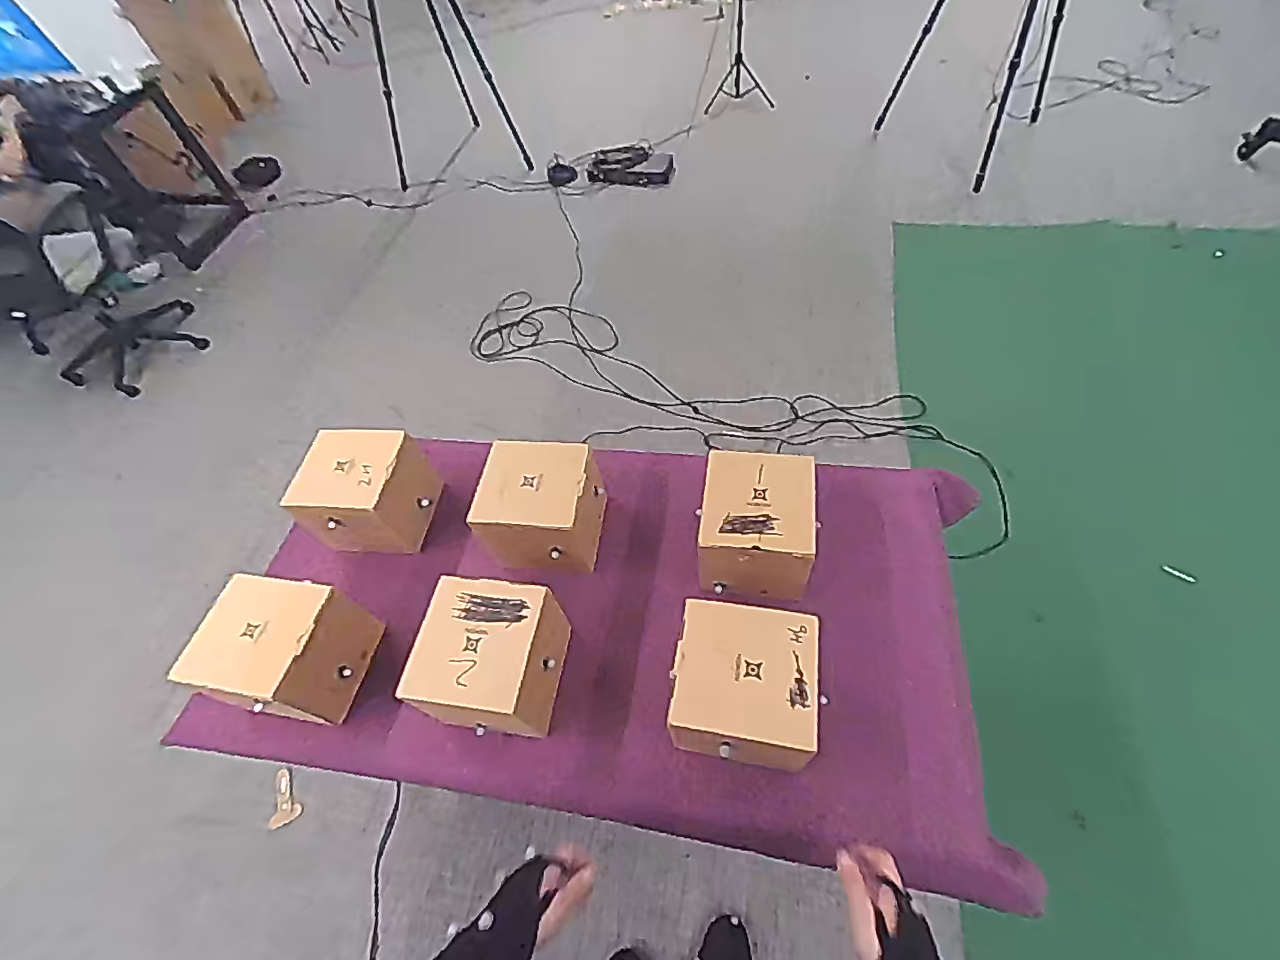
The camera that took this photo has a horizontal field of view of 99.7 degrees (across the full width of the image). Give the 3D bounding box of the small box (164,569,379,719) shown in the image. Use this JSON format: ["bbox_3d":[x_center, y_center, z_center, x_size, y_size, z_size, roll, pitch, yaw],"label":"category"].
[{"bbox_3d":[-0.550,0.256,0.836,0.179,0.176,0.168,5,55,10],"label":"small box"}]

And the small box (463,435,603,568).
[{"bbox_3d":[-0.170,0.041,0.934,0.179,0.176,0.168,3,56,10],"label":"small box"}]

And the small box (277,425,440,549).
[{"bbox_3d":[-0.502,0.016,0.993,0.179,0.176,0.168,2,57,9],"label":"small box"}]

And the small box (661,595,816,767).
[{"bbox_3d":[0.136,0.274,0.731,0.179,0.176,0.168,6,56,13],"label":"small box"}]

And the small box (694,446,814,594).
[{"bbox_3d":[0.182,0.068,0.866,0.168,0.176,0.179,5,56,11],"label":"small box"}]
